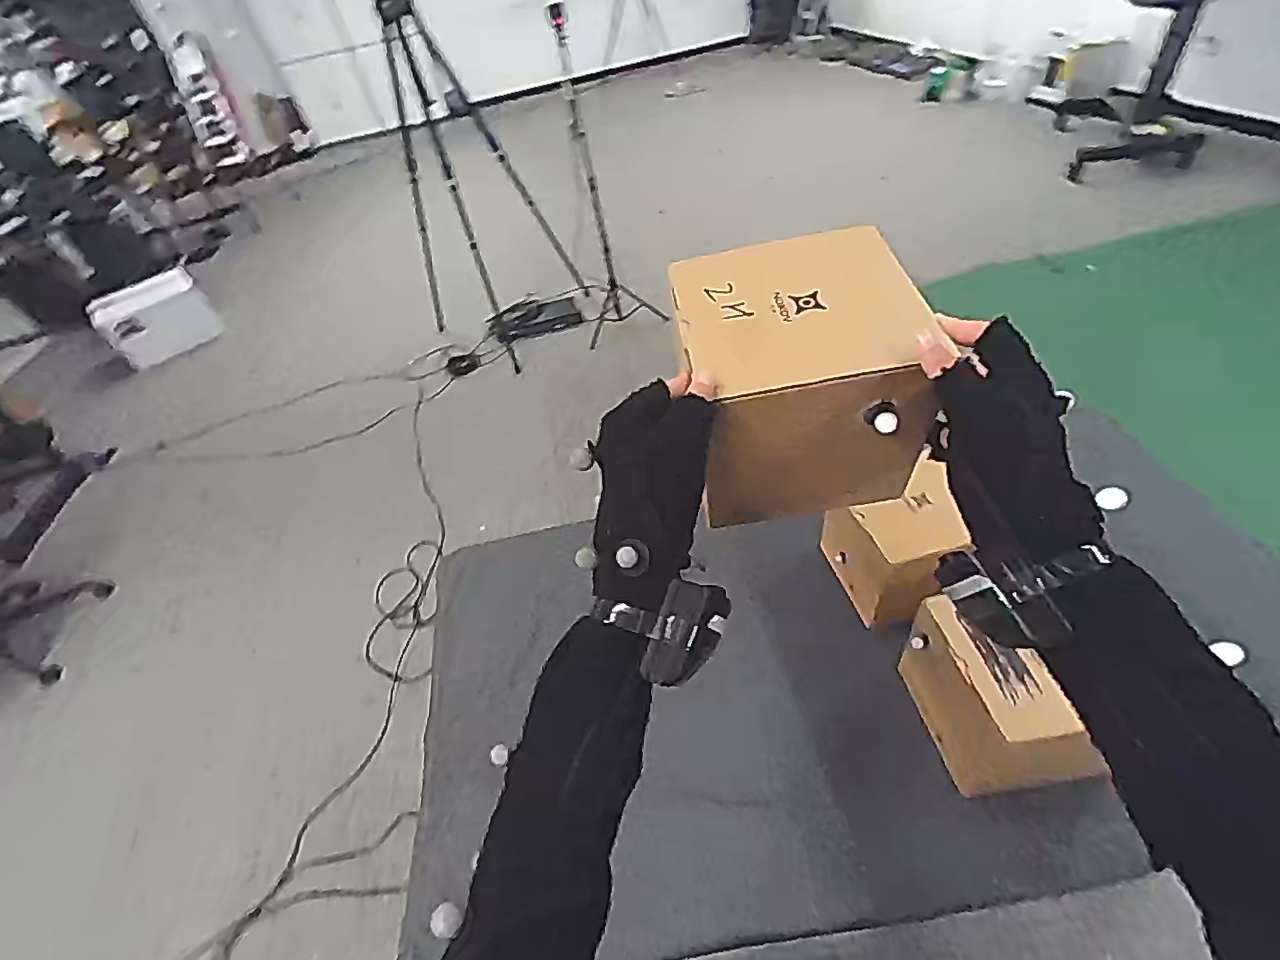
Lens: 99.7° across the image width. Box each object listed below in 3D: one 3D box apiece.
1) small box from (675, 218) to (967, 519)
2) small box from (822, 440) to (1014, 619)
[{"bbox_3d":[0.131,-0.085,0.460,0.179,0.176,0.168,-9,54,5],"label":"small box"},{"bbox_3d":[0.382,0.075,0.783,0.179,0.176,0.168,-17,46,-1],"label":"small box"}]
